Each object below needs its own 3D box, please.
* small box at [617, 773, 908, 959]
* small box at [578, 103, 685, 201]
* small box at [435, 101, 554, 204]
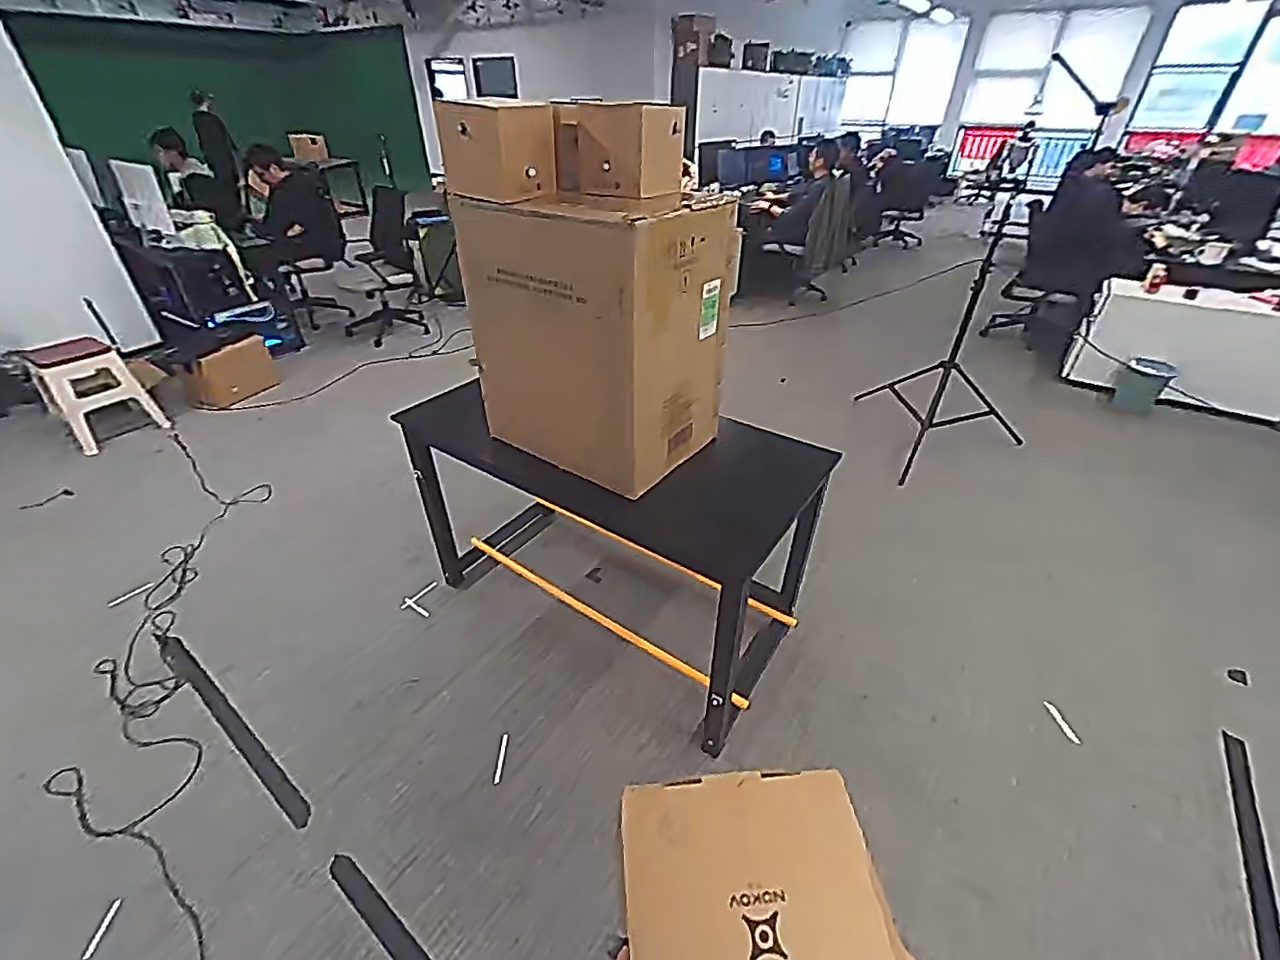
[{"bbox_3d":[0.072,0.334,0.379,0.168,0.176,0.179,-2,42,-6],"label":"small box"},{"bbox_3d":[-0.018,-0.718,1.183,0.168,0.176,0.179,20,38,27],"label":"small box"},{"bbox_3d":[-0.300,-0.693,1.142,0.179,0.176,0.168,23,42,24],"label":"small box"}]
